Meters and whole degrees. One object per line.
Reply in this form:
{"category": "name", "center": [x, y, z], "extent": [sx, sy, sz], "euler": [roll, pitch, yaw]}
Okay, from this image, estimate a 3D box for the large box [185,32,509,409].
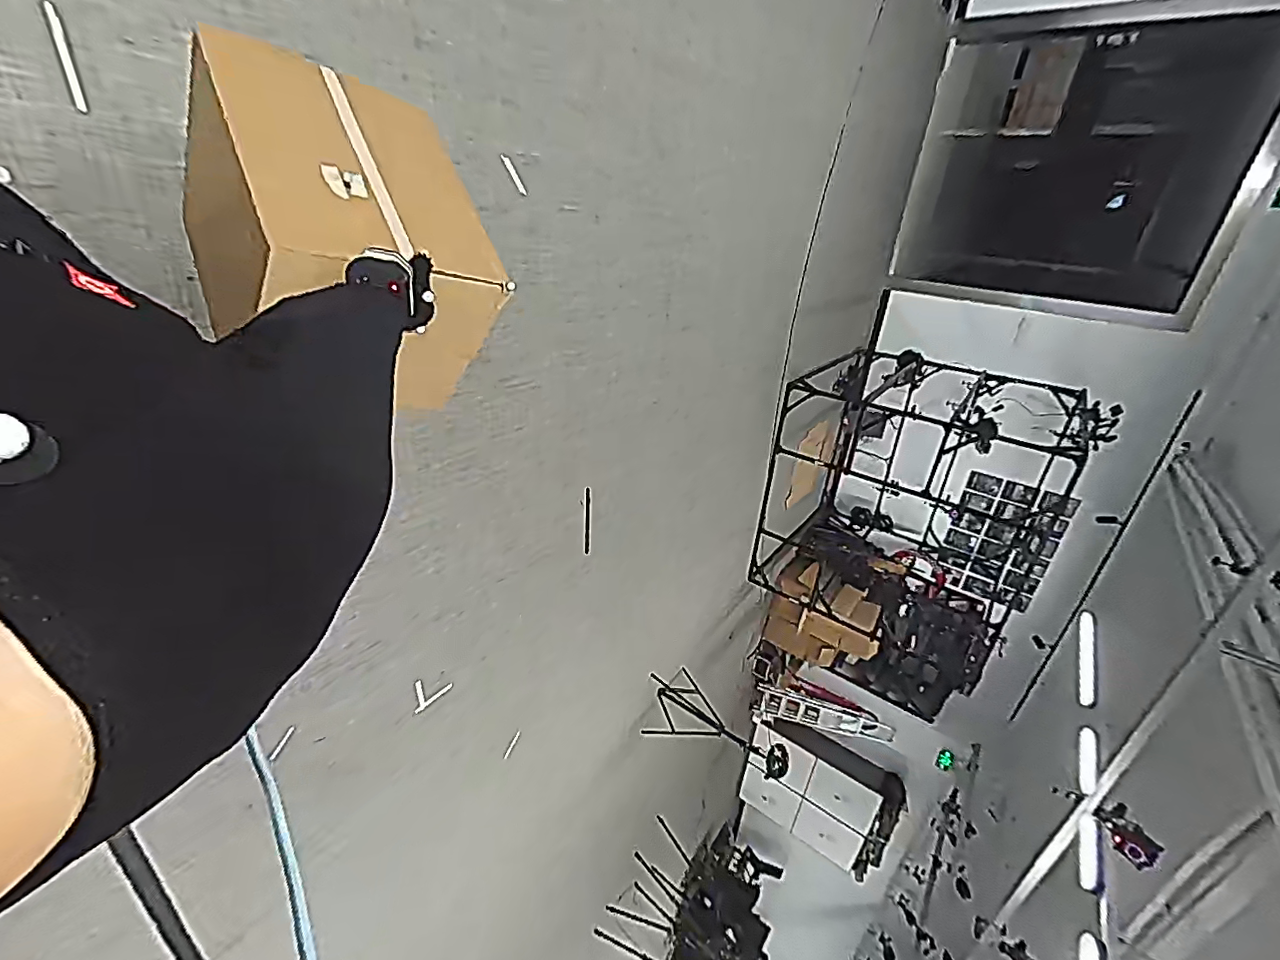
{"category": "large box", "center": [-0.477, -0.363, 0.861], "extent": [0.320, 0.408, 0.320], "euler": [-9, 157, -46]}
